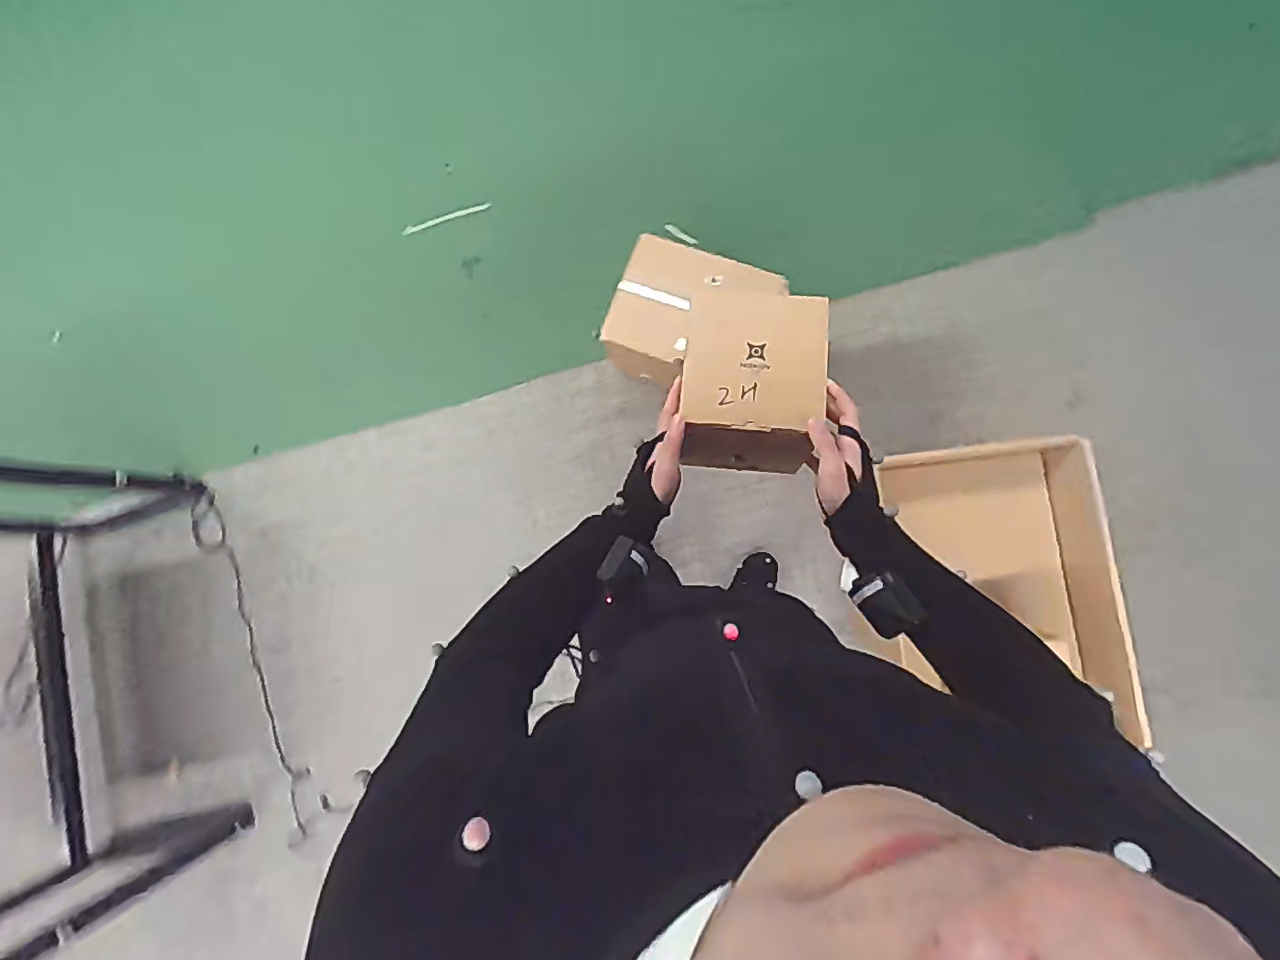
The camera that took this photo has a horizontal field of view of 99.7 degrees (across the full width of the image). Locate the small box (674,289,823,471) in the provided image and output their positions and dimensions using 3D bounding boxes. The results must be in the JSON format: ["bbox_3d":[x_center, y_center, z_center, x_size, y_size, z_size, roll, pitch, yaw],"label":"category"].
[{"bbox_3d":[0.133,-0.122,0.703,0.168,0.176,0.179,4,76,6],"label":"small box"}]
